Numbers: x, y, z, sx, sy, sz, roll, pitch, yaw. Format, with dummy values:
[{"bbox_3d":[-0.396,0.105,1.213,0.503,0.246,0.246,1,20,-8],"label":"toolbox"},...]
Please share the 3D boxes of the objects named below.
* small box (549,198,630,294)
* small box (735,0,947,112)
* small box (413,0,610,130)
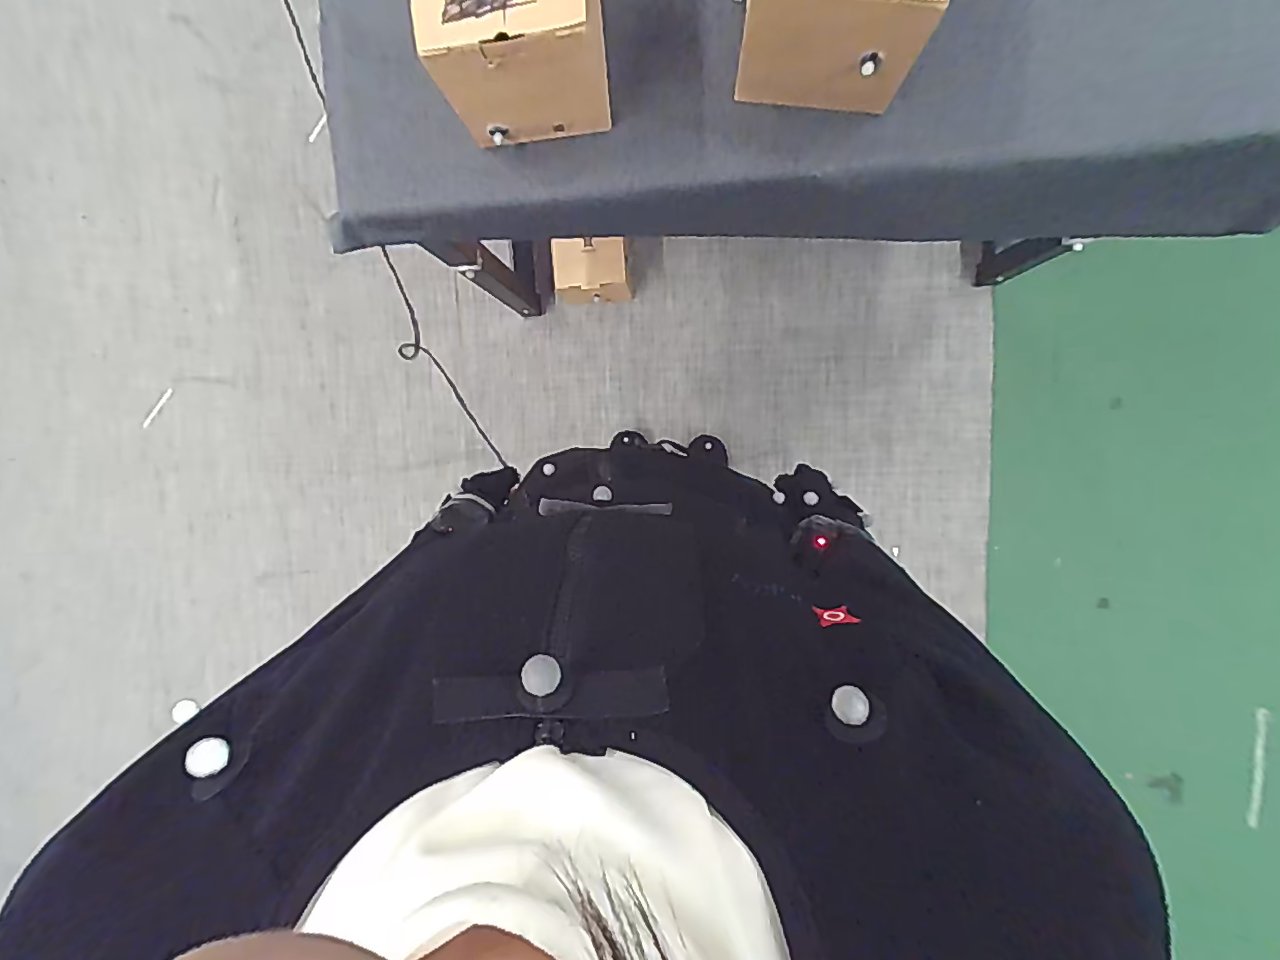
[{"bbox_3d":[-0.115,-0.554,1.306,0.168,0.176,0.179,-2,96,4],"label":"small box"},{"bbox_3d":[0.202,-0.513,0.554,0.179,0.176,0.168,8,95,4],"label":"small box"},{"bbox_3d":[-0.127,-0.504,0.575,0.168,0.176,0.179,-4,94,4],"label":"small box"}]
